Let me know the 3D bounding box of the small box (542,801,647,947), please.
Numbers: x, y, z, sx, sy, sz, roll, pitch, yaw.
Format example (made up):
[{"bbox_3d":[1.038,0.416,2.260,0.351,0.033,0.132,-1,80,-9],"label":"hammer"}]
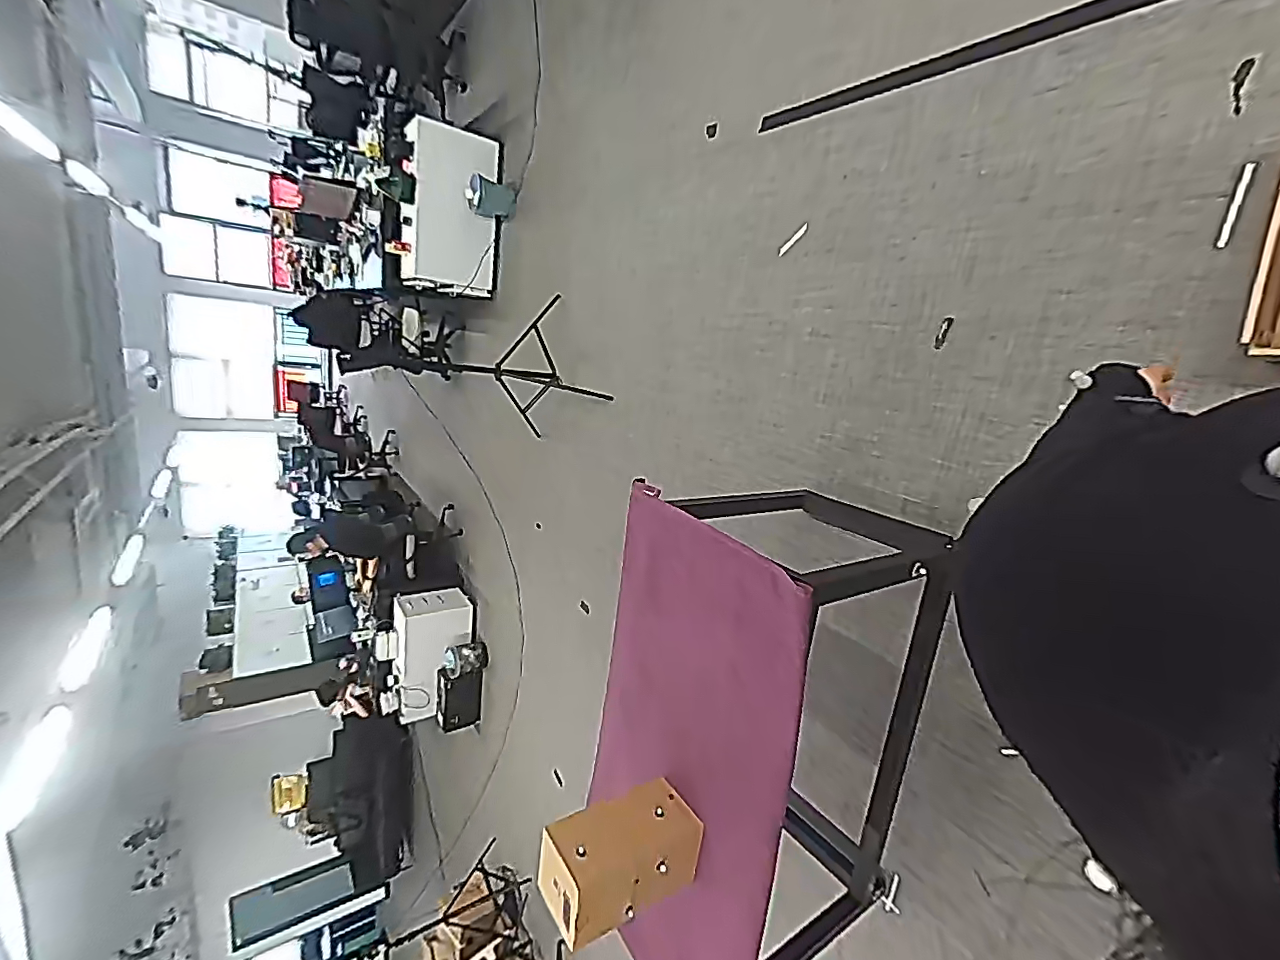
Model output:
[{"bbox_3d":[-0.103,0.867,1.213,0.179,0.176,0.168,24,111,52],"label":"small box"}]

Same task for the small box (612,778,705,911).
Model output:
[{"bbox_3d":[0.036,0.863,1.302,0.168,0.176,0.179,27,114,52],"label":"small box"}]
